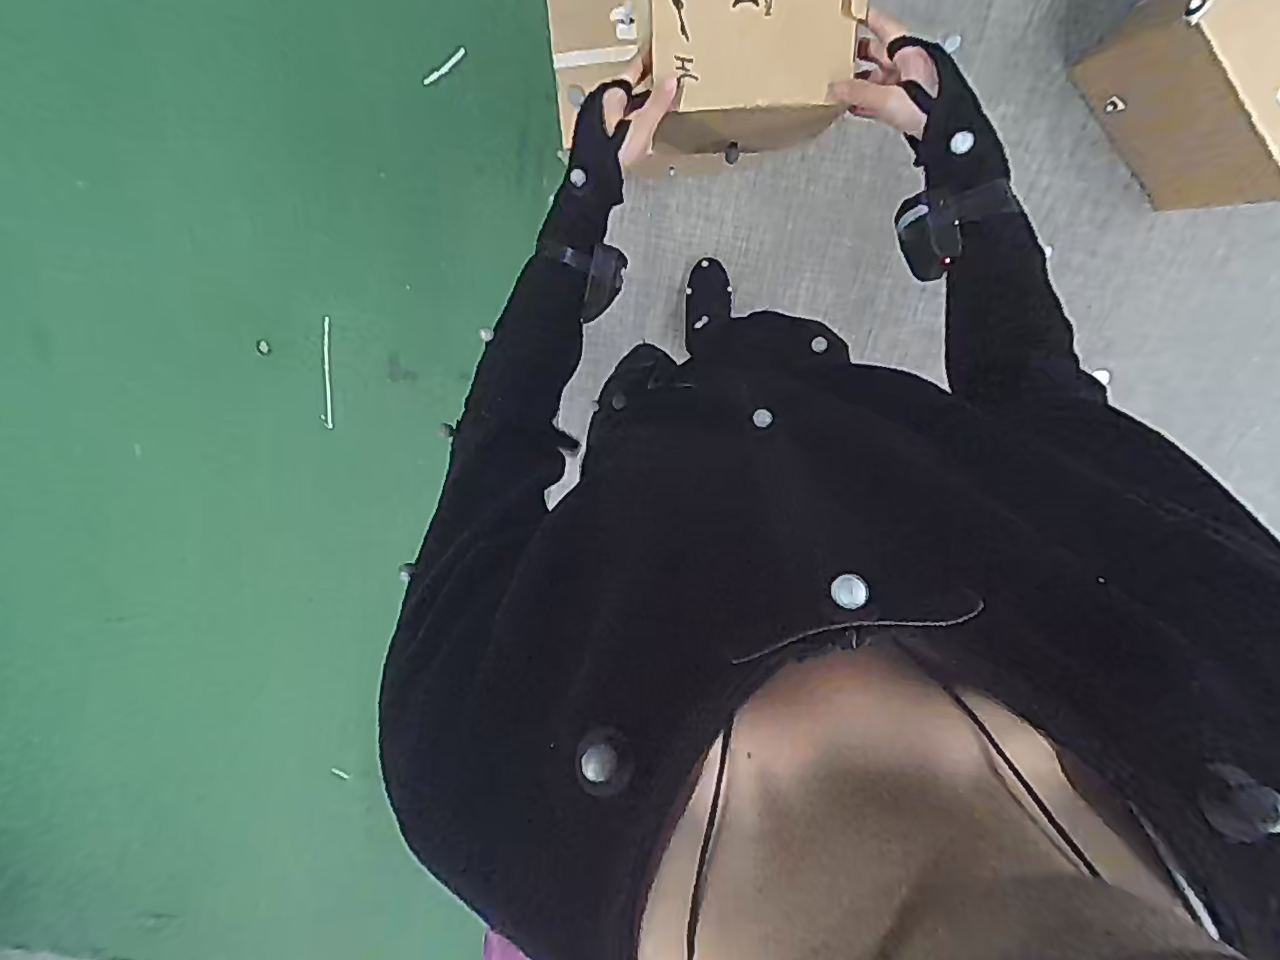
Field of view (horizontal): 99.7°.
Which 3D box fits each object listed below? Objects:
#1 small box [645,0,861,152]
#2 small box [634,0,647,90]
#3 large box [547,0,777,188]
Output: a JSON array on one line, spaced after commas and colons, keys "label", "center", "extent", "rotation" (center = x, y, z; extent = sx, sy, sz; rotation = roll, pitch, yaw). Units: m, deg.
[{"label": "small box", "center": [0.095, -0.427, 0.515], "extent": [0.179, 0.176, 0.168], "rotation": [-1, 108, 1]}, {"label": "small box", "center": [0.081, -0.634, 0.708], "extent": [0.179, 0.176, 0.168], "rotation": [-3, 112, 5]}, {"label": "large box", "center": [0.059, -0.794, 1.087], "extent": [0.408, 0.320, 0.320], "rotation": [-2, 110, 6]}]
